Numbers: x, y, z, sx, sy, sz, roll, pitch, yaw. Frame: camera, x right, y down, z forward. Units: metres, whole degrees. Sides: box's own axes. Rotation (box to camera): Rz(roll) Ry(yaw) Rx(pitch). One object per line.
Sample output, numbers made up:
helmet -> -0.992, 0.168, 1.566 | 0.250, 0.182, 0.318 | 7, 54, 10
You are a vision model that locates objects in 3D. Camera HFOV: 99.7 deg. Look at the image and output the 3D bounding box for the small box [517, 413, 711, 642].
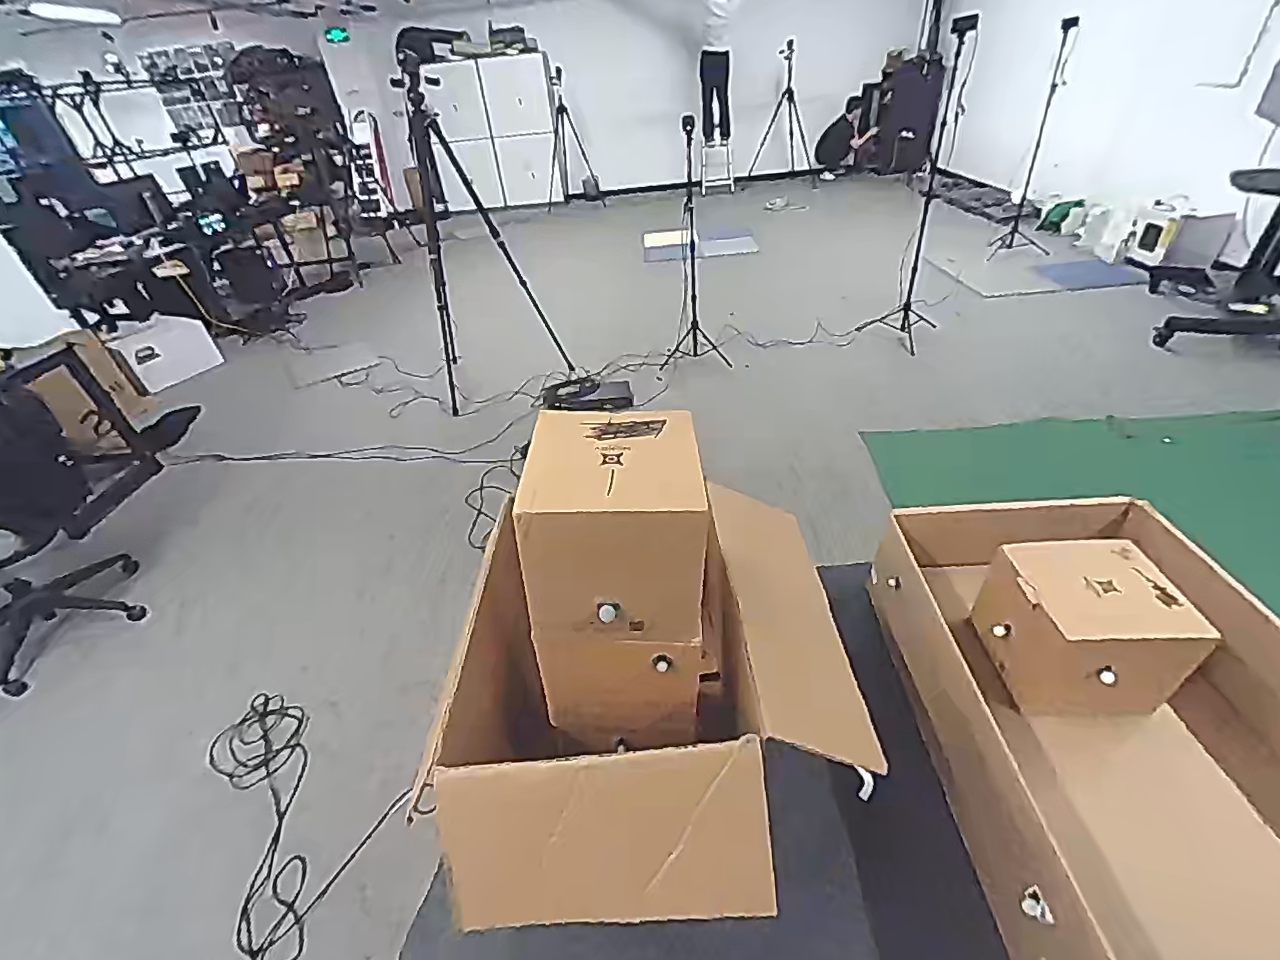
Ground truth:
small box -> -0.022, 0.044, 0.563 | 0.168, 0.176, 0.179 | -1, 36, 0
